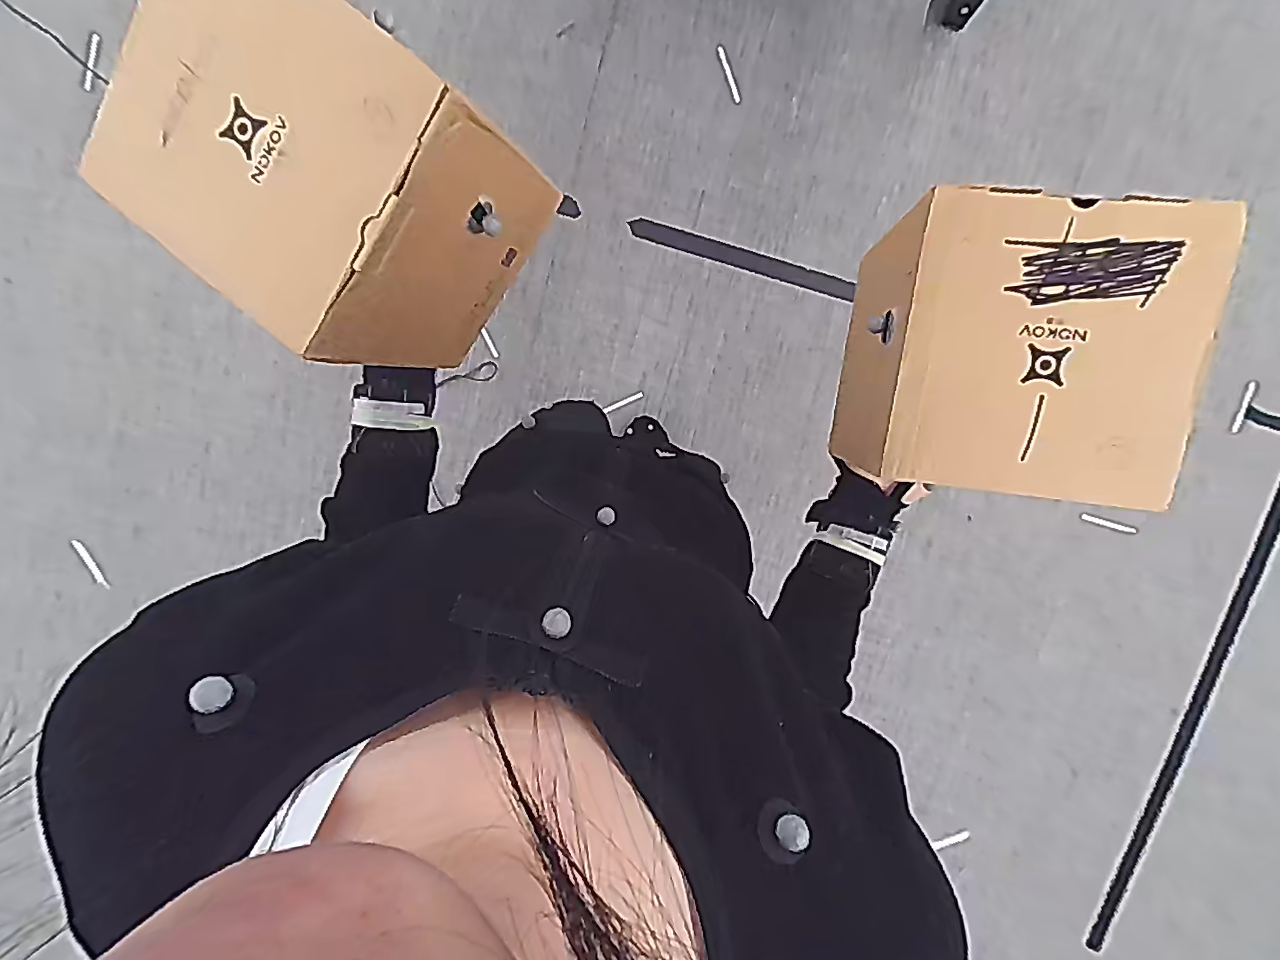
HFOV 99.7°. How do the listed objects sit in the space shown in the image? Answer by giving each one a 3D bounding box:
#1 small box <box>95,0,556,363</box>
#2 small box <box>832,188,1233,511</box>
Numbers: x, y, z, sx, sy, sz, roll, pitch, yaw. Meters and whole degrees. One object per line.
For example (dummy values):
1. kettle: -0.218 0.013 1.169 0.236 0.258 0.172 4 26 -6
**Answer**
1. small box: -0.185 -0.196 0.367 0.179 0.176 0.168 38 104 3
2. small box: 0.253 -0.088 0.402 0.168 0.176 0.179 8 100 7
